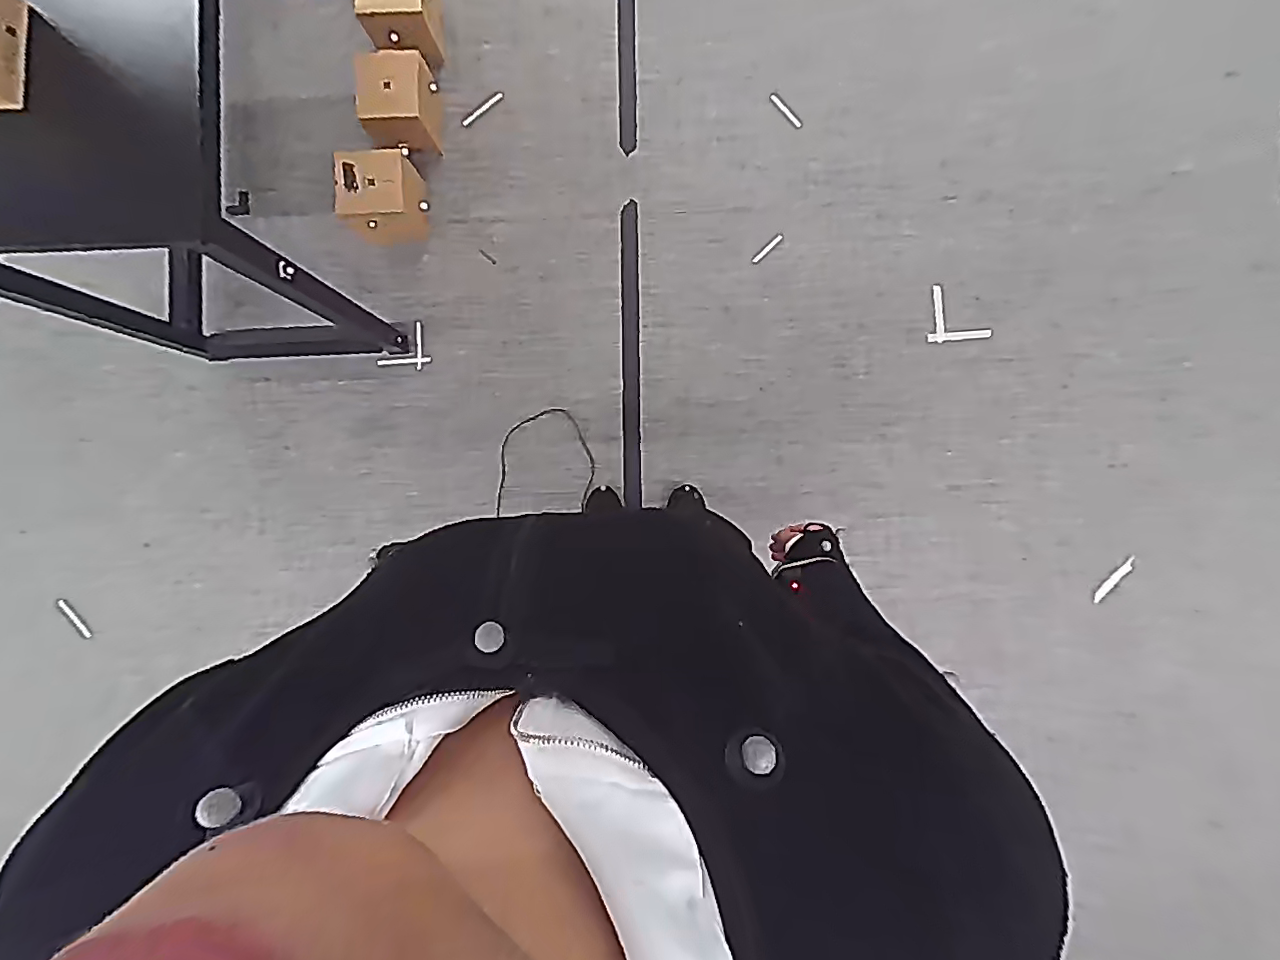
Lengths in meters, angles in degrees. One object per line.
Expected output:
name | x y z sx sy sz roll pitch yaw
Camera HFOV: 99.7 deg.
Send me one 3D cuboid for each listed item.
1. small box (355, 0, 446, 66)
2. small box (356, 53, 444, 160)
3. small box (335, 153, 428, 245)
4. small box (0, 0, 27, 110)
small box | -0.649 -1.270 1.474 0.179 0.176 0.168 -2 89 2
small box | -0.646 -1.007 1.469 0.168 0.176 0.179 -2 89 2
small box | -0.694 -0.753 1.463 0.179 0.176 0.168 -2 89 0
small box | -1.014 -0.641 0.739 0.179 0.176 0.168 1 88 2
